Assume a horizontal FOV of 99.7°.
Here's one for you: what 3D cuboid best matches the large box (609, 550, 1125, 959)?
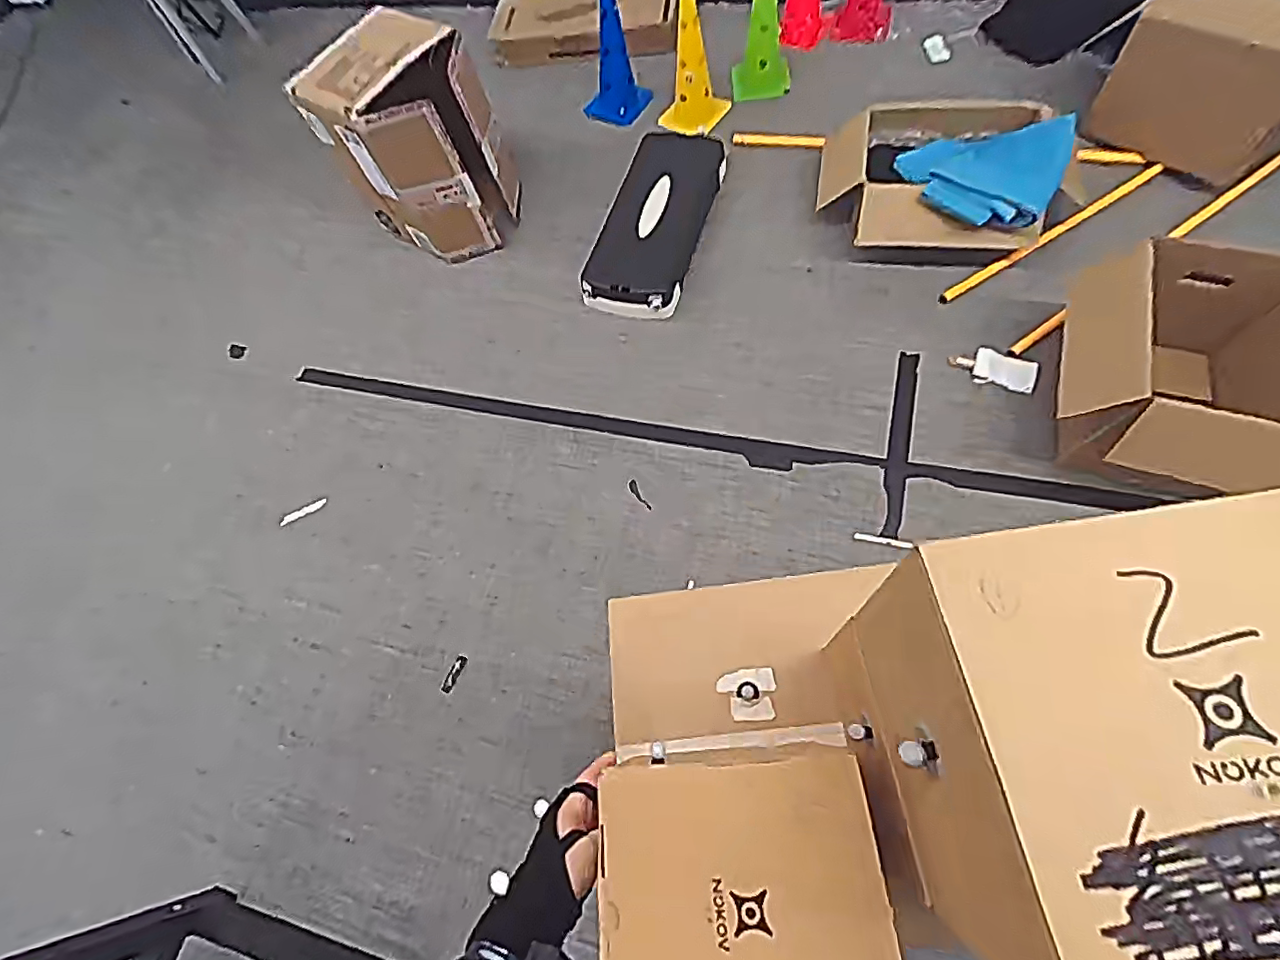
[{"bbox_3d":[0.203,0.304,0.644,0.408,0.320,0.320,-10,63,7],"label":"large box"}]

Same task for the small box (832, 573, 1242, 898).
[{"bbox_3d":[0.257,0.187,0.414,0.168,0.176,0.179,-11,64,7],"label":"small box"}]
